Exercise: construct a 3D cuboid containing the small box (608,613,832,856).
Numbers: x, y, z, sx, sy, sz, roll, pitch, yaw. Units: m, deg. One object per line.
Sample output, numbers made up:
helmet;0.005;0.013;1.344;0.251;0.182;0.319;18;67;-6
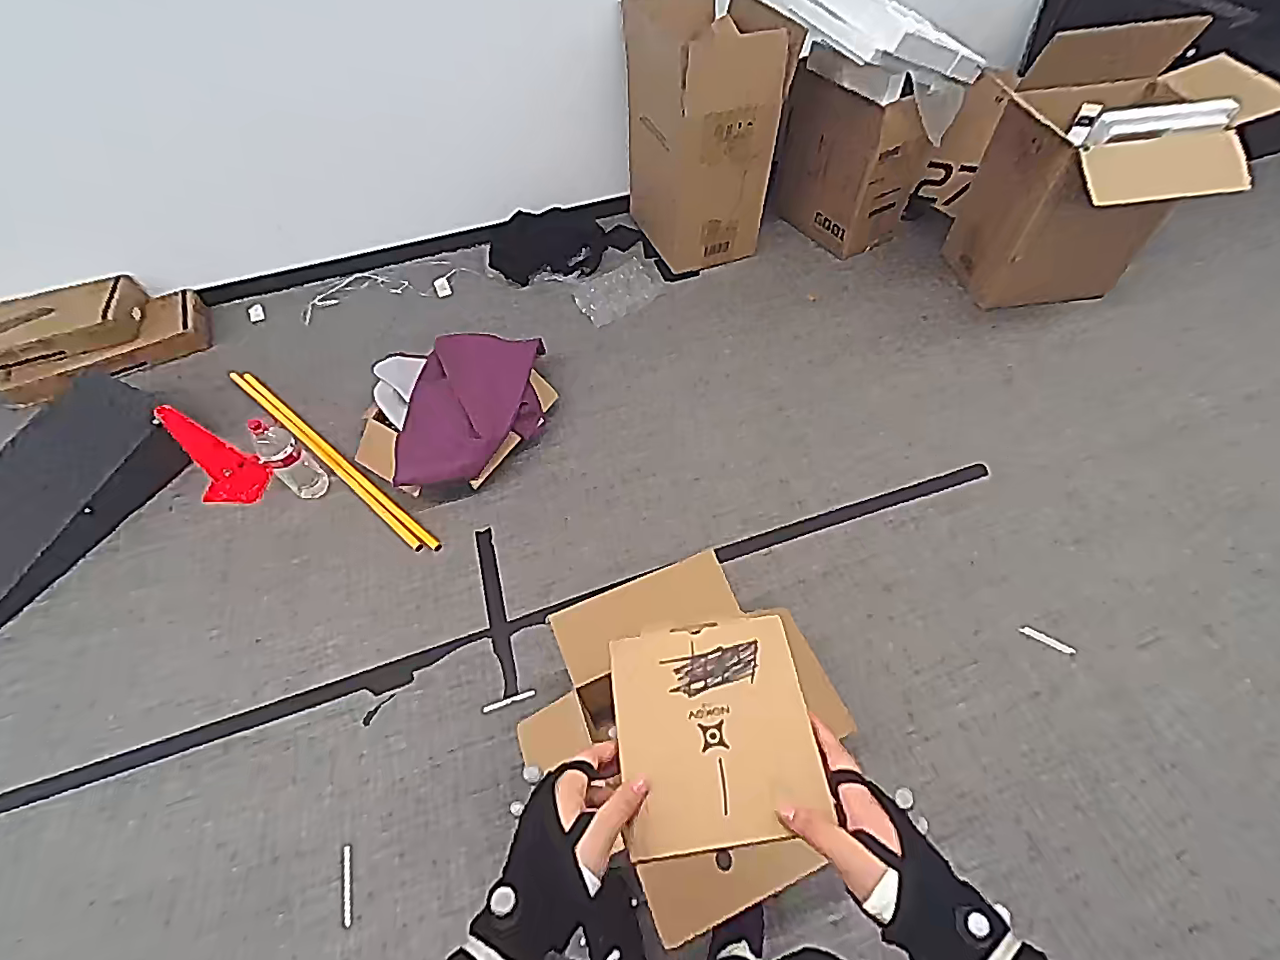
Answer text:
small box;0.065;0.253;0.530;0.168;0.176;0.179;-9;55;0
